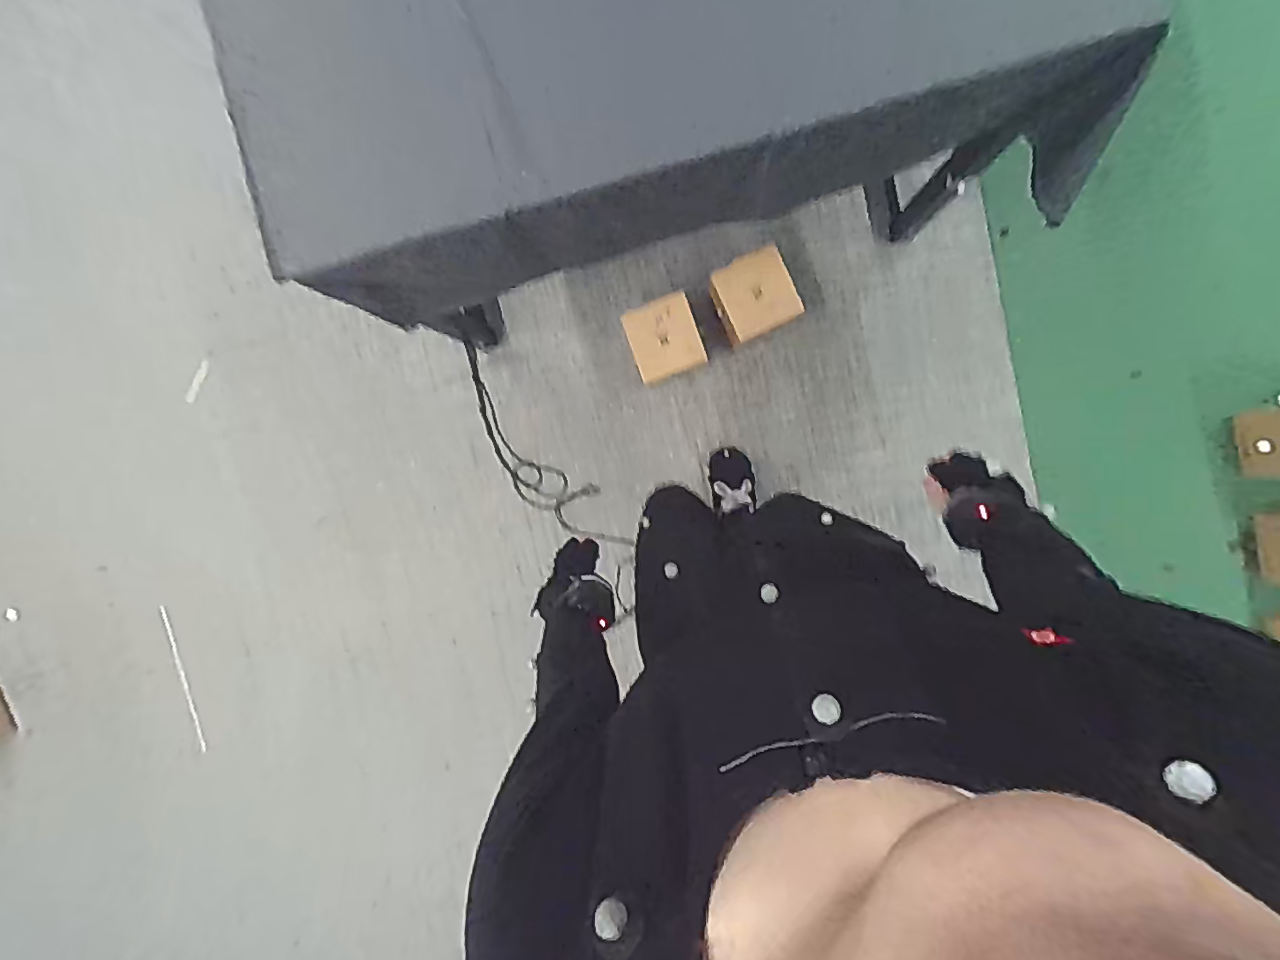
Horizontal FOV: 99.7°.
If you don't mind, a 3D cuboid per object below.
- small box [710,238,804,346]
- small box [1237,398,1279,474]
[{"bbox_3d":[0.278,-0.453,1.334,0.168,0.176,0.179,-25,91,7],"label":"small box"},{"bbox_3d":[1.541,-0.108,1.241,0.179,0.176,0.168,-13,93,7],"label":"small box"}]
